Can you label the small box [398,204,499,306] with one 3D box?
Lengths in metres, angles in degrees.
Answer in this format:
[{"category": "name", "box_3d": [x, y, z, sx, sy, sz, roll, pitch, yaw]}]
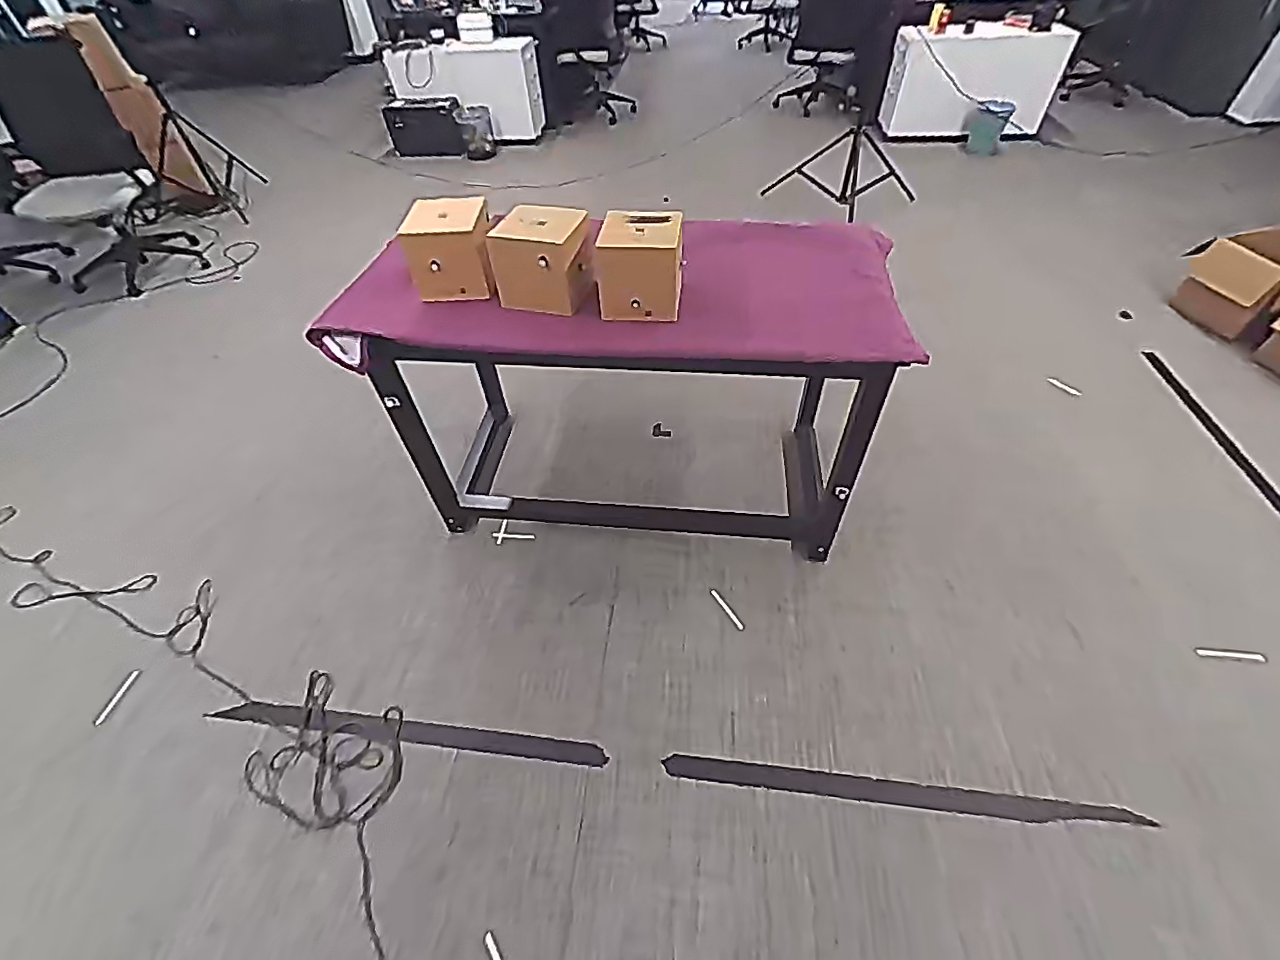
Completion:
[{"category": "small box", "box_3d": [-0.441, -0.526, 1.277, 0.168, 0.176, 0.179, -3, 48, 1]}]
